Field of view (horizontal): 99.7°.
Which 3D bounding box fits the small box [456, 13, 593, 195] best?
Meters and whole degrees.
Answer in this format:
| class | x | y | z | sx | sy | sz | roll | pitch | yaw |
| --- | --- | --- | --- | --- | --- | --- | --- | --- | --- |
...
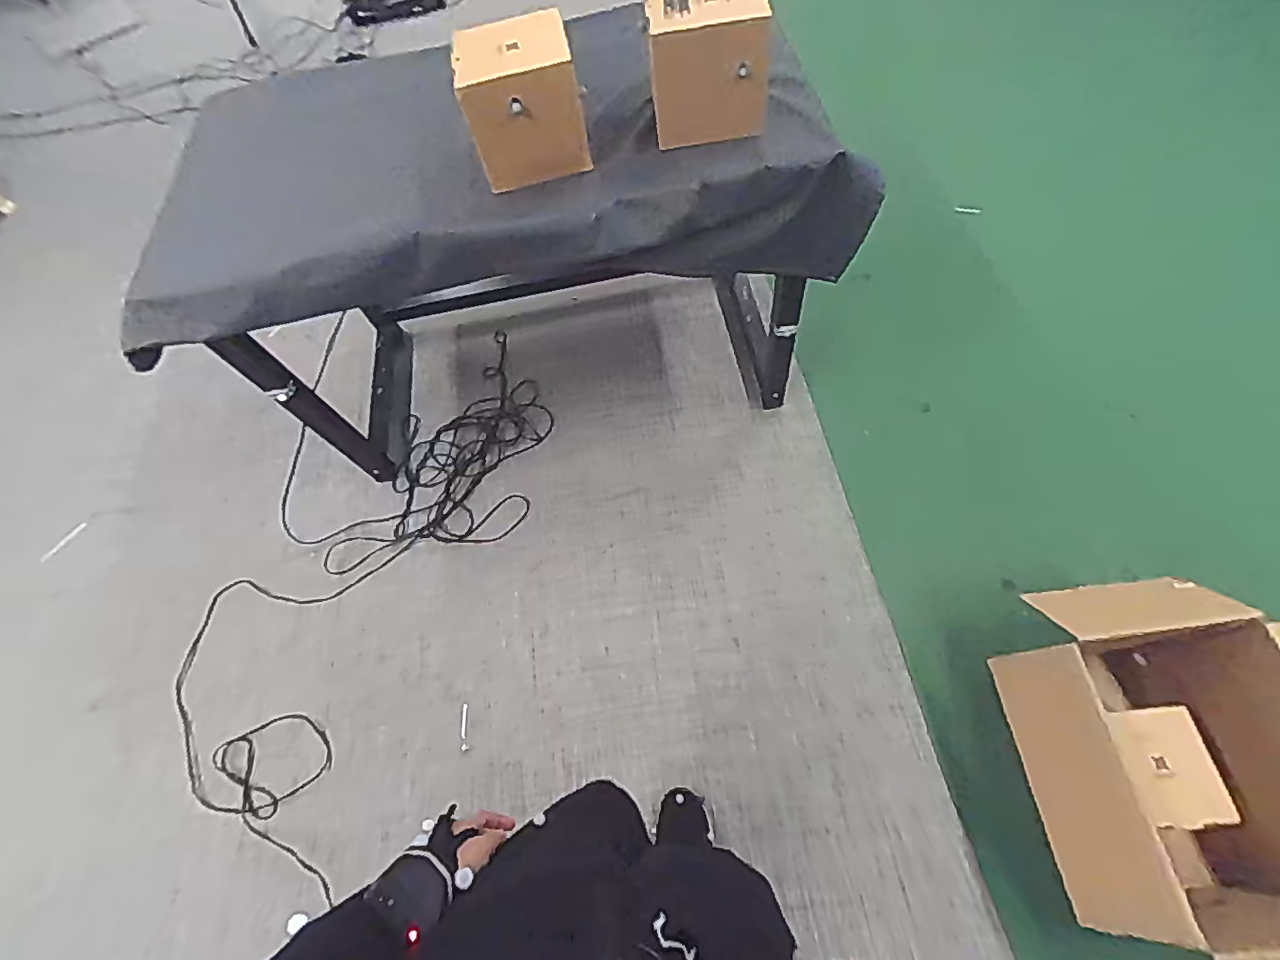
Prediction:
| class | x | y | z | sx | sy | sz | roll | pitch | yaw |
| --- | --- | --- | --- | --- | --- | --- | --- | --- | --- |
| small box | -0.180 | -0.606 | 0.883 | 0.179 | 0.176 | 0.168 | -13 | 62 | 2 |
